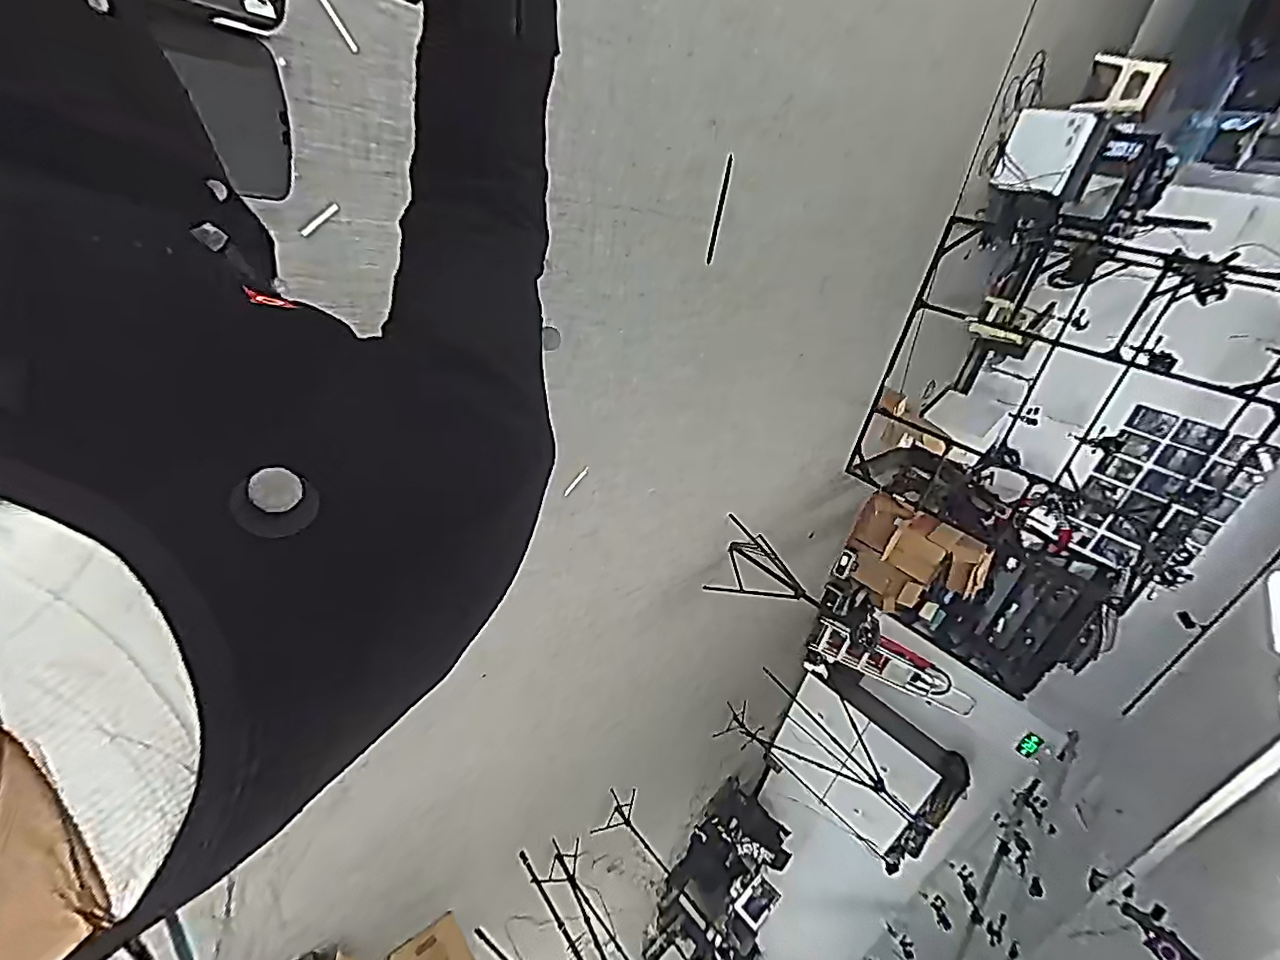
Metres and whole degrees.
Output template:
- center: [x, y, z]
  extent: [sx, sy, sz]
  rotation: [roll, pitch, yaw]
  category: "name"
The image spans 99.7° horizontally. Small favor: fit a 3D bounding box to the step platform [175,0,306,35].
- center: [-0.868, -0.897, 0.756]
  extent: [0.684, 0.204, 0.286]
  rotation: [-18, 131, -42]
  category: "step platform"
